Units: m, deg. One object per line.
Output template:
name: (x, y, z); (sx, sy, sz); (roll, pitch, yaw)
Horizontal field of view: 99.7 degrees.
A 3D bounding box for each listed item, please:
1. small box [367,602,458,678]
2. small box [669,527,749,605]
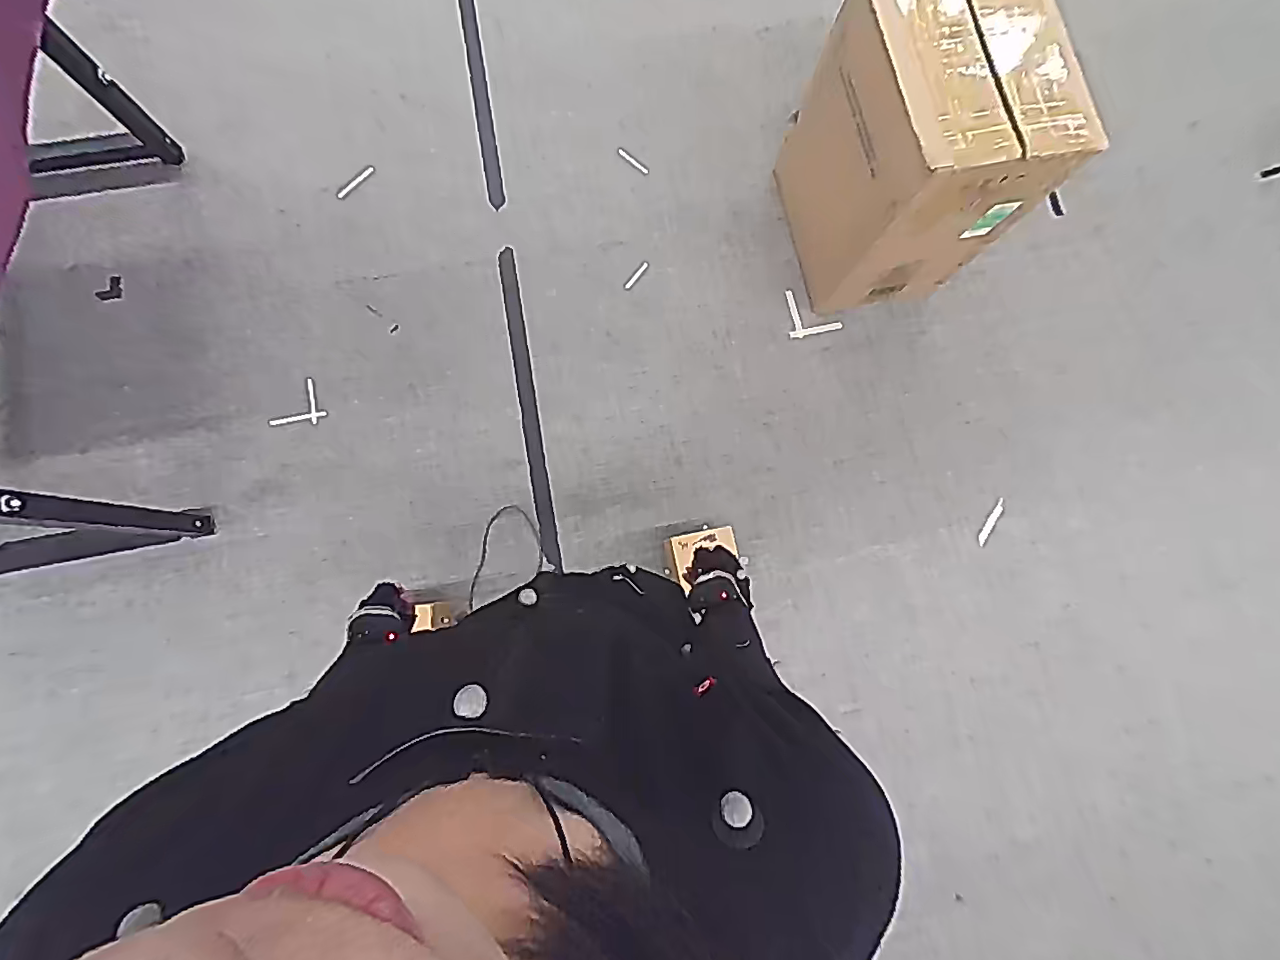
small box: (-0.576, 0.404, 1.387); (0.179, 0.176, 0.168); (-5, 79, -1)
small box: (0.181, 0.230, 1.465); (0.168, 0.176, 0.179); (-11, 82, -5)
